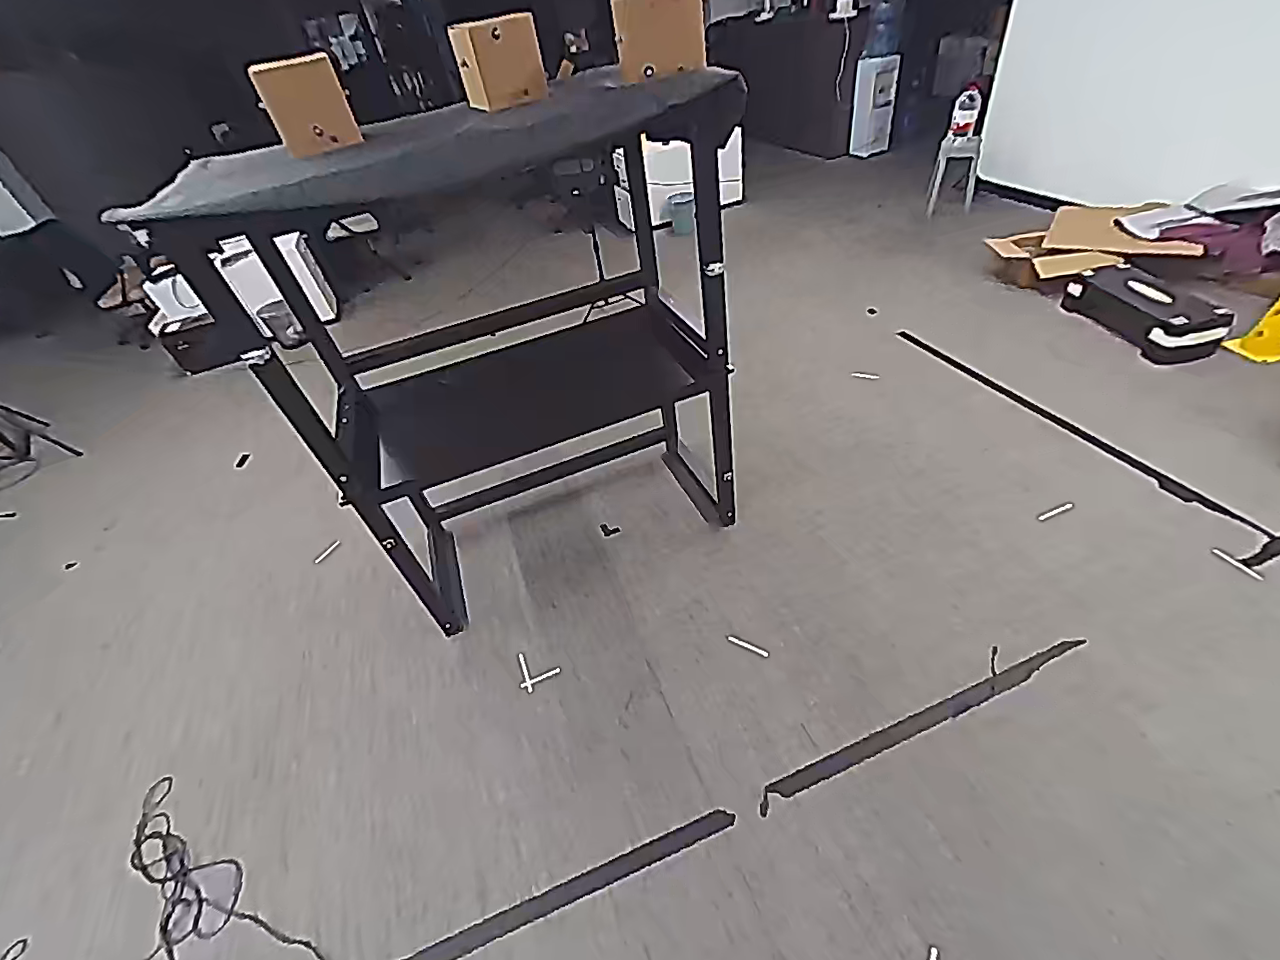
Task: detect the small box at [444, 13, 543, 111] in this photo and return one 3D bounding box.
[{"bbox_3d":[-0.366,-1.046,1.359,0.168,0.176,0.179,-28,45,-17],"label":"small box"}]

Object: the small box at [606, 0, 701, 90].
[{"bbox_3d":[0.032,-0.998,1.216,0.168,0.176,0.179,-15,41,-3],"label":"small box"}]
